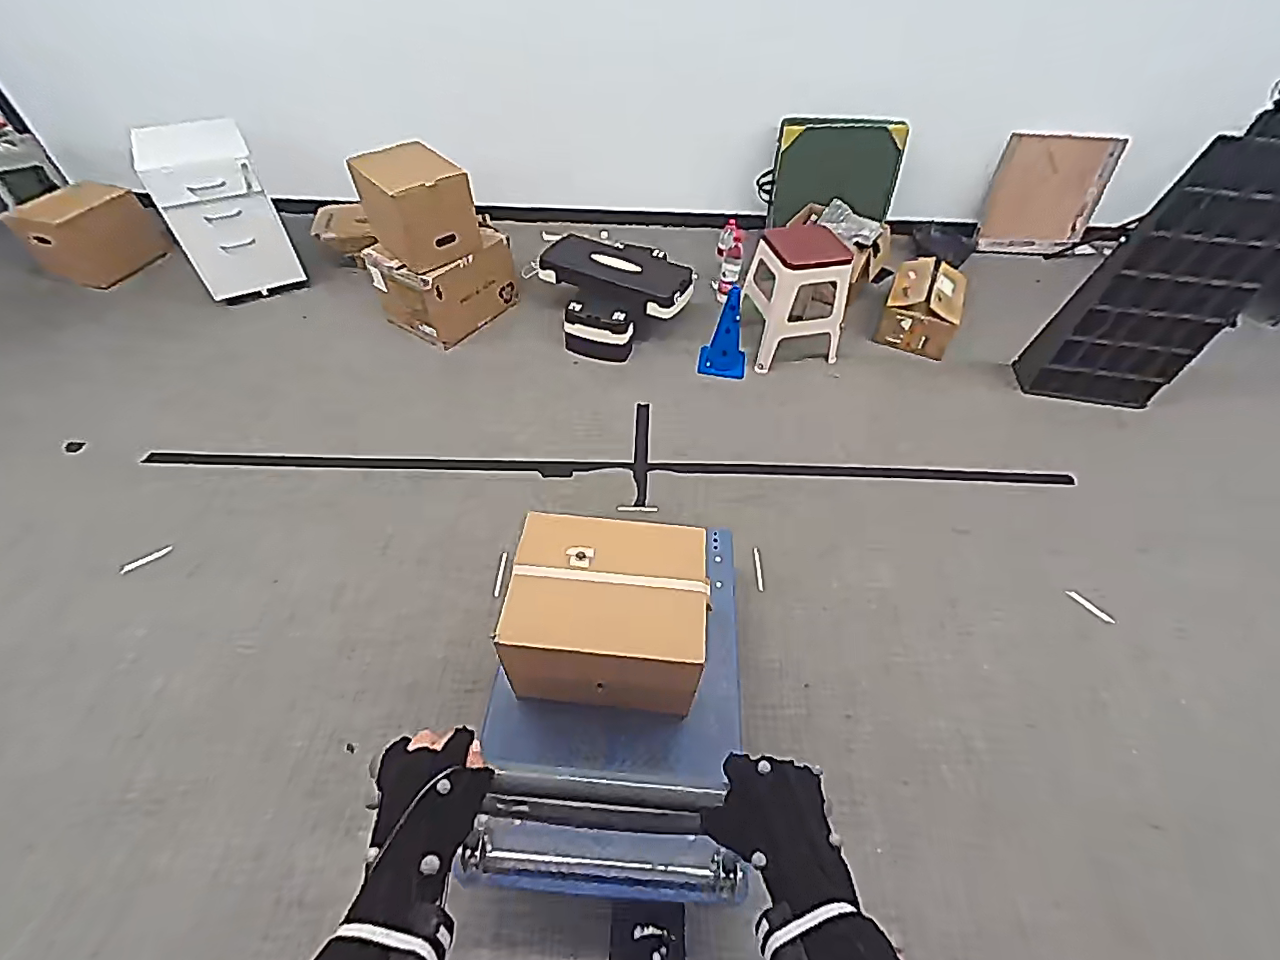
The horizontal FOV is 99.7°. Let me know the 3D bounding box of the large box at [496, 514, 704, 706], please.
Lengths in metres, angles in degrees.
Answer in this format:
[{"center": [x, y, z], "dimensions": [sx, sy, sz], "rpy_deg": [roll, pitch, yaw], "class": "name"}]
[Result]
[{"center": [-0.069, 0.302, 1.236], "dimensions": [0.408, 0.320, 0.320], "rpy_deg": [5, 50, 2], "class": "large box"}]
